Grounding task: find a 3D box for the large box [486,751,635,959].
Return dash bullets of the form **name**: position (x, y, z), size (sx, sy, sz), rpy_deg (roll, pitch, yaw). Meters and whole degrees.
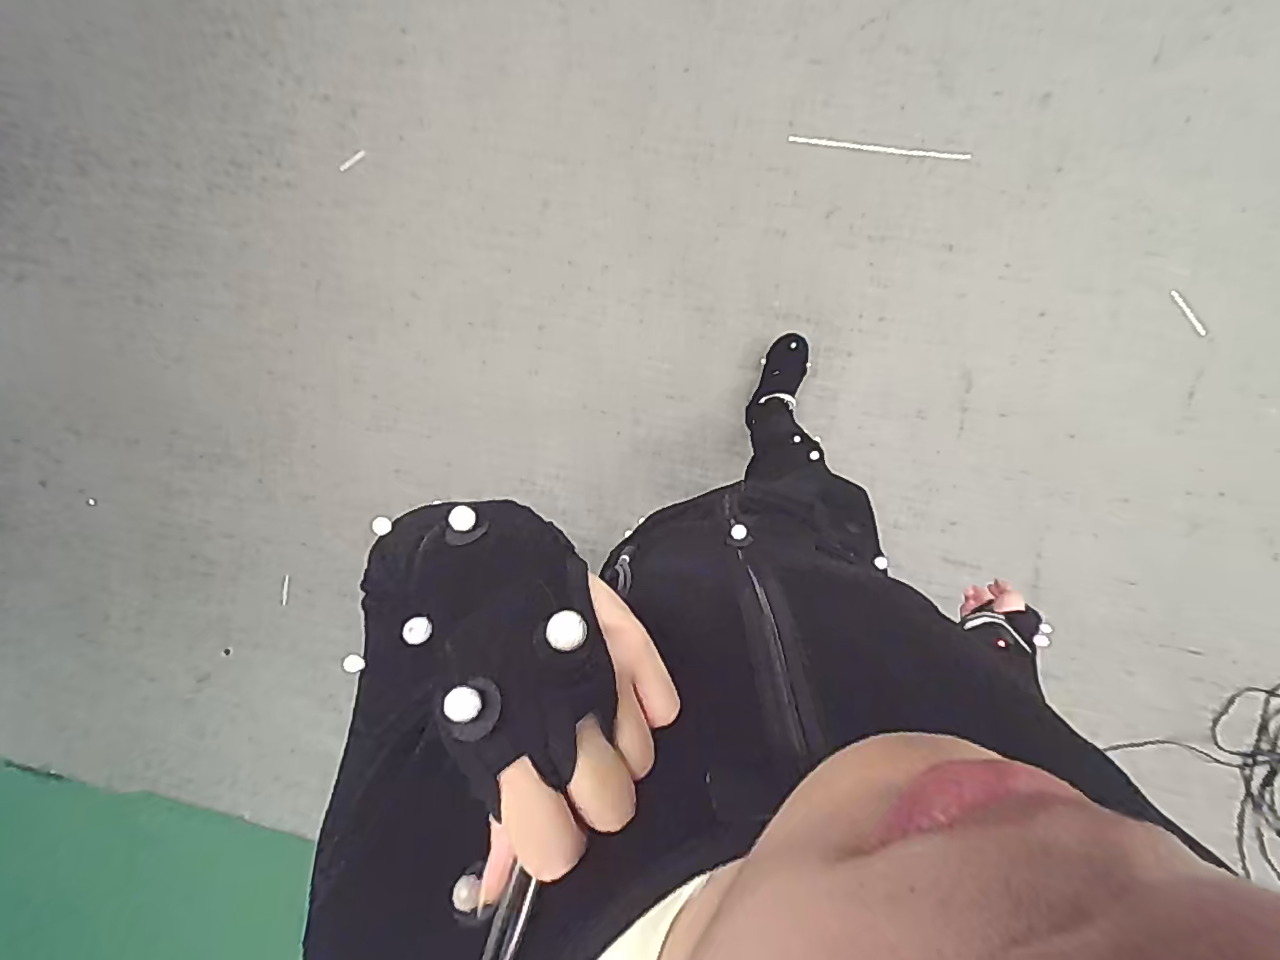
- **large box**: position (-0.184, 0.974, 1.396), size (0.320, 0.320, 0.408), rpy_deg (0, 94, 7)
